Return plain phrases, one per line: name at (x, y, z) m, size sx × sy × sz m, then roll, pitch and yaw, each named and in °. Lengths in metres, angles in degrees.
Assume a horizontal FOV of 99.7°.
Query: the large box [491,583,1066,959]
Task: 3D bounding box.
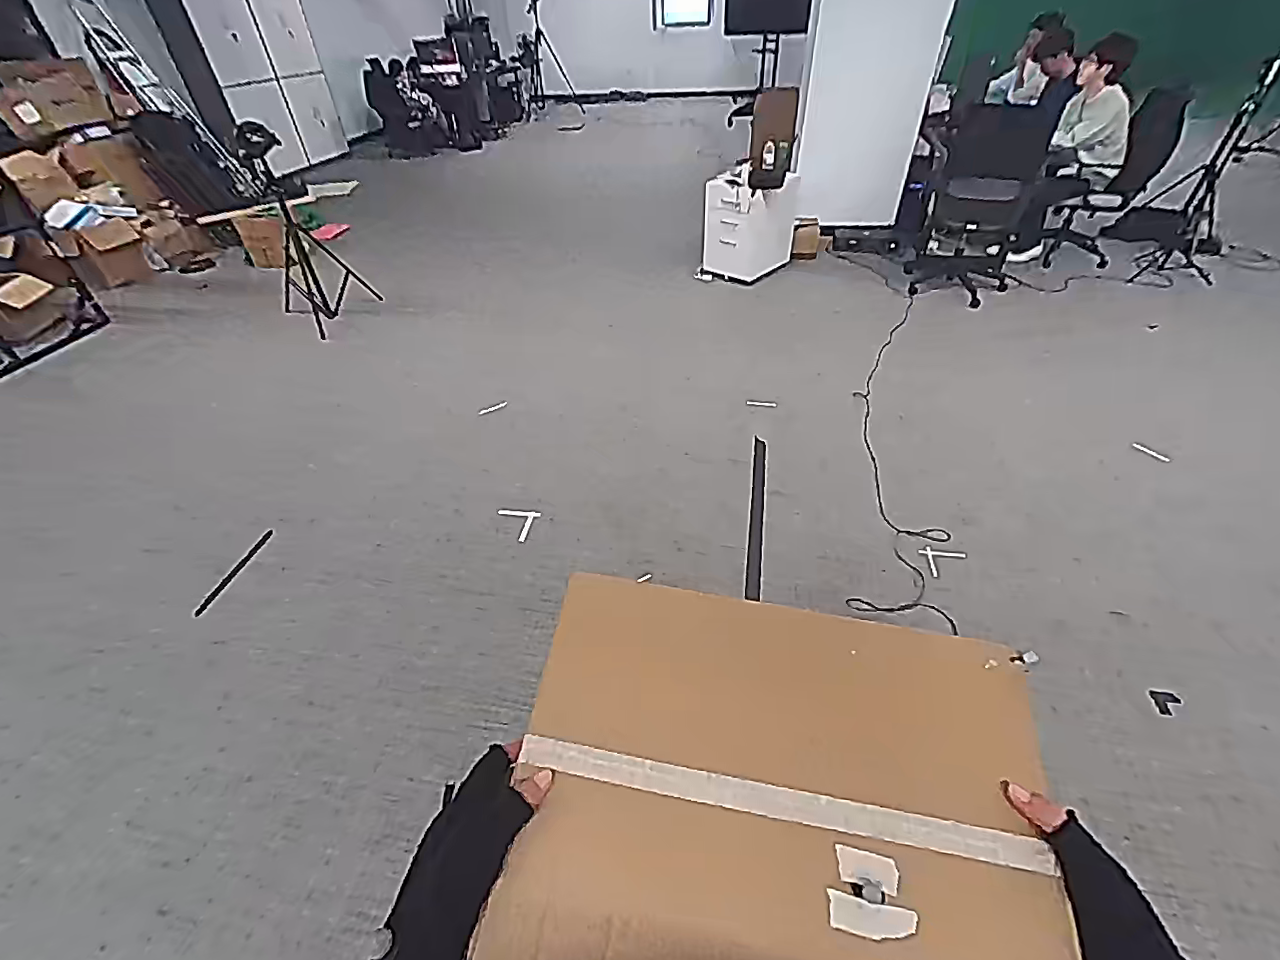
large box at (0.113, 0.332, 0.555) m, size 0.408 × 0.320 × 0.320 m, roll 8°, pitch 59°, yaw 7°
